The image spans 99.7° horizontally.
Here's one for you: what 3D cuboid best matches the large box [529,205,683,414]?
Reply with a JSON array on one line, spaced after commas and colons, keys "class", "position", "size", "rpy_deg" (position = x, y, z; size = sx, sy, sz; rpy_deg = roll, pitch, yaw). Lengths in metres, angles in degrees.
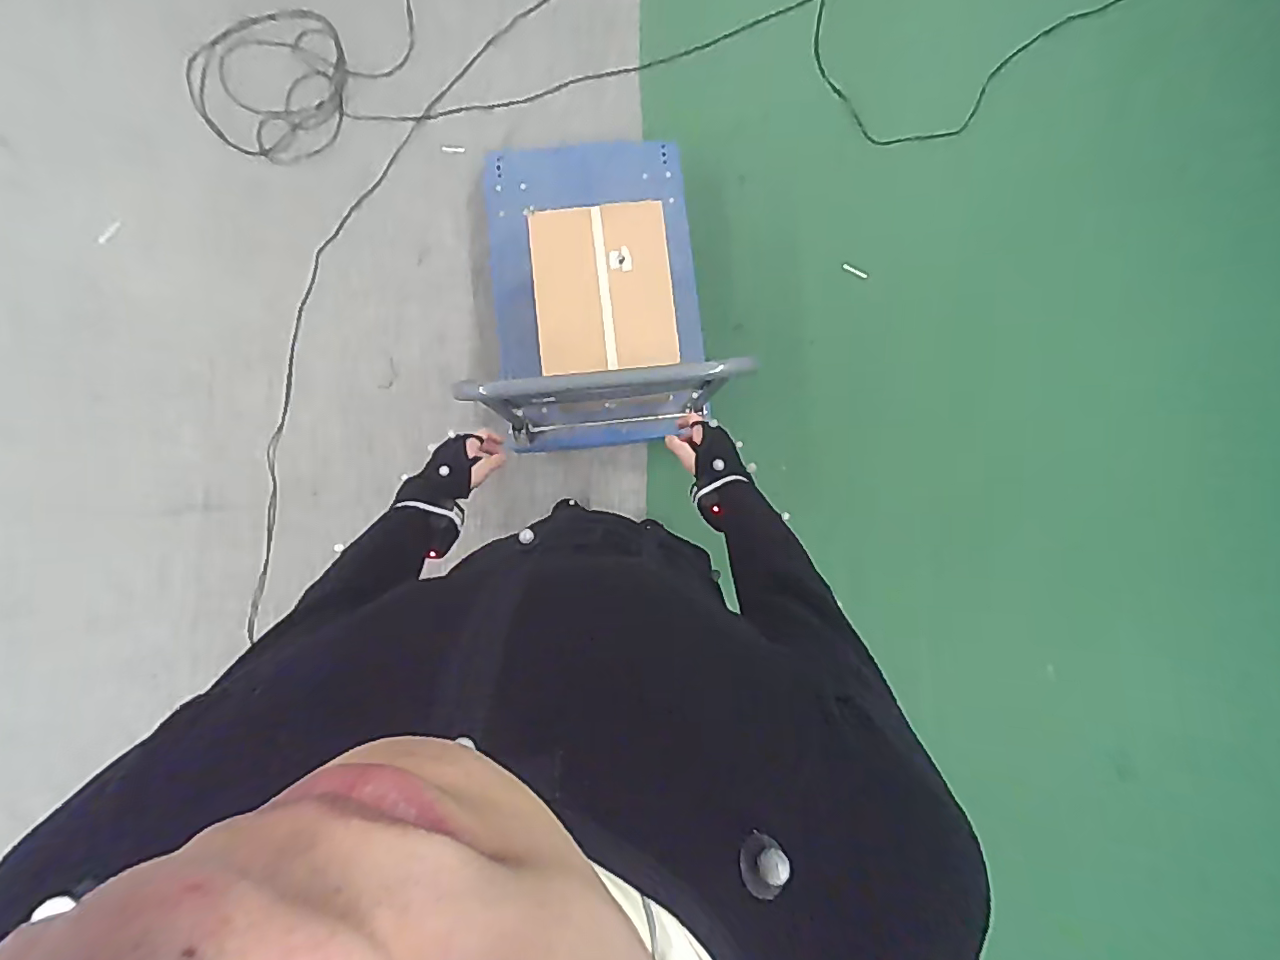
[{"class": "large box", "position": [-0.083, -0.408, 1.372], "size": [0.320, 0.320, 0.408], "rpy_deg": [-6, 84, -3]}]
